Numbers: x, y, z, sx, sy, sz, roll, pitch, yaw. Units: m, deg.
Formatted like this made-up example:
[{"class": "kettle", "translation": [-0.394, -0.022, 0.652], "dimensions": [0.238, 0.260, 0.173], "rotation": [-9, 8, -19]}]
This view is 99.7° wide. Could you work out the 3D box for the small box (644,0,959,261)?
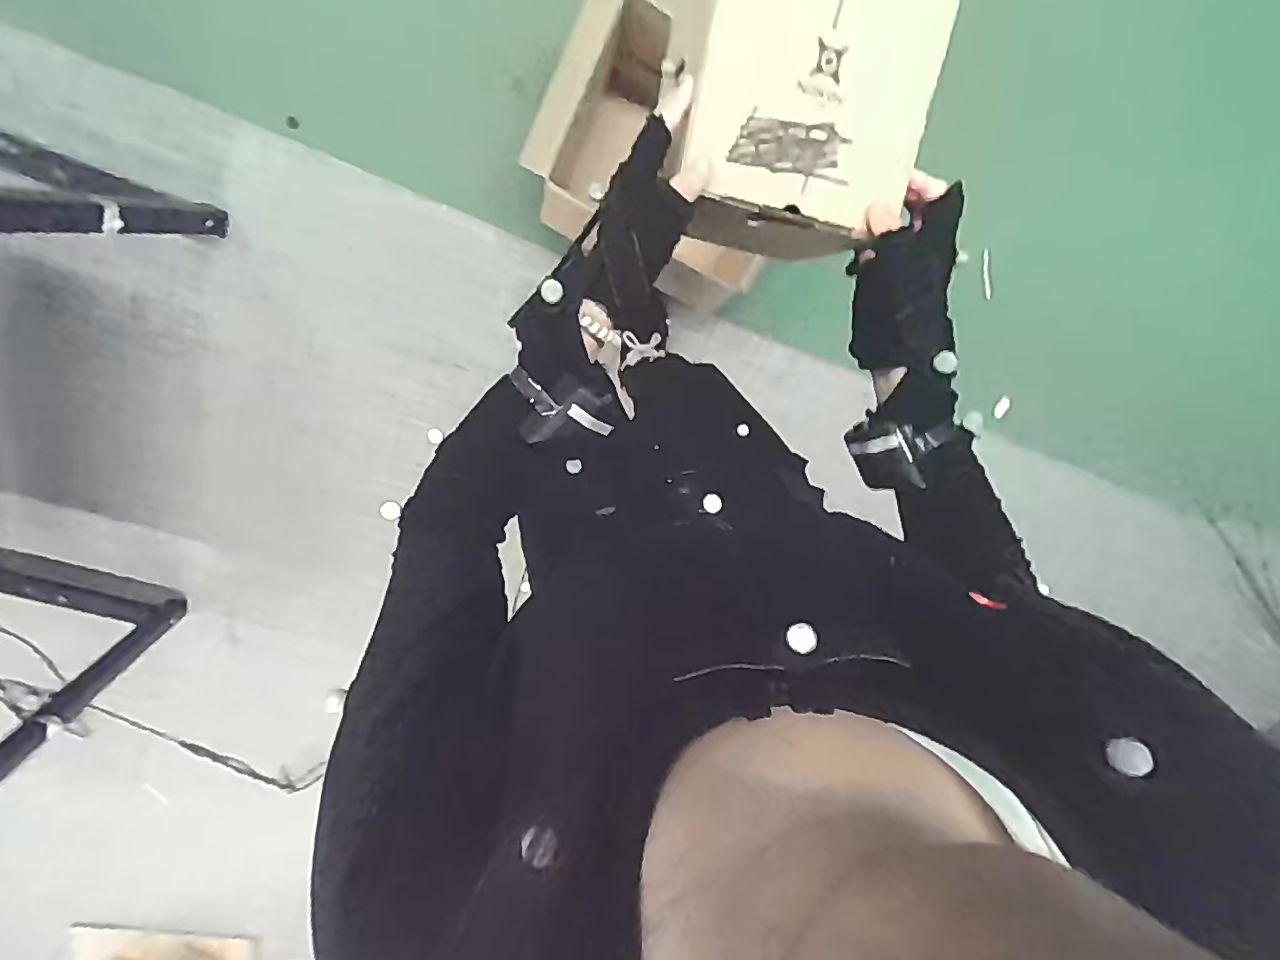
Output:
[{"class": "small box", "translation": [0.105, -0.288, 0.433], "dimensions": [0.168, 0.176, 0.179], "rotation": [8, 104, -13]}]
